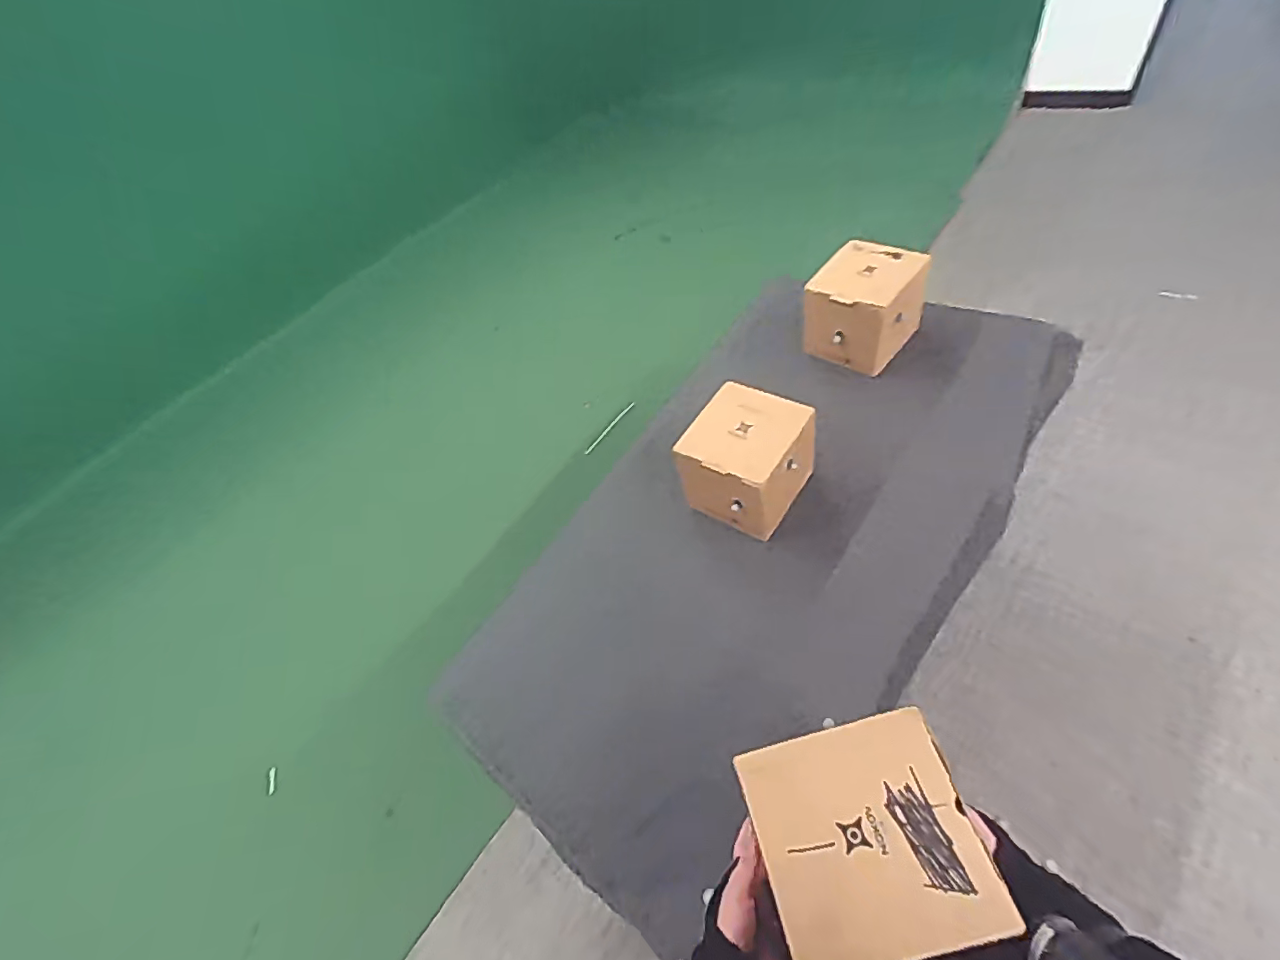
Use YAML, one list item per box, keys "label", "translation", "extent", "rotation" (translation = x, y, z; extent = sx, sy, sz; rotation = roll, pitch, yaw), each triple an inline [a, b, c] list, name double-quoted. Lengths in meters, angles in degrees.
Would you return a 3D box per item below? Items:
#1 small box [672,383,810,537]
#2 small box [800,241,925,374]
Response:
- label: "small box"
  translation: [0.180, -0.031, 0.935]
  extent: [0.168, 0.176, 0.179]
  rotation: [25, 63, 30]
- label: "small box"
  translation: [0.443, -0.345, 1.090]
  extent: [0.168, 0.176, 0.179]
  rotation: [32, 68, 33]
